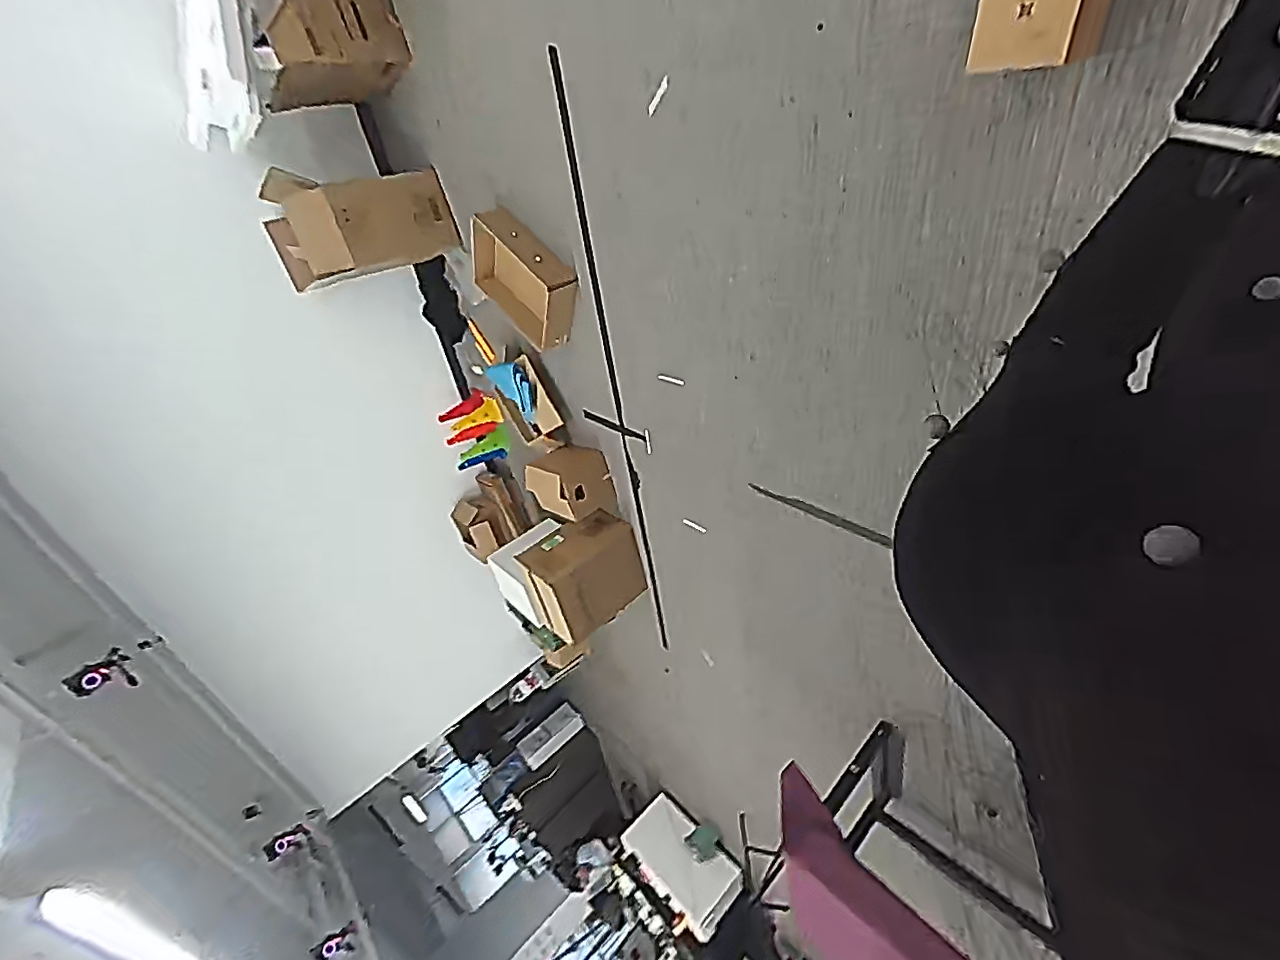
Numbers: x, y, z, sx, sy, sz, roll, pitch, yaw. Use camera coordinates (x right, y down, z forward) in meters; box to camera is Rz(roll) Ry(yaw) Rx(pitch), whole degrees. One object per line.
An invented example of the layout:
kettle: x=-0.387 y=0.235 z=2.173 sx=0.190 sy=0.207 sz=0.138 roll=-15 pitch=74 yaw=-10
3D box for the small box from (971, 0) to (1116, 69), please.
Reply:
small box: x=0.732 y=-0.858 z=0.966 sx=0.168 sy=0.176 sz=0.179 roll=30 pitch=142 yaw=41
